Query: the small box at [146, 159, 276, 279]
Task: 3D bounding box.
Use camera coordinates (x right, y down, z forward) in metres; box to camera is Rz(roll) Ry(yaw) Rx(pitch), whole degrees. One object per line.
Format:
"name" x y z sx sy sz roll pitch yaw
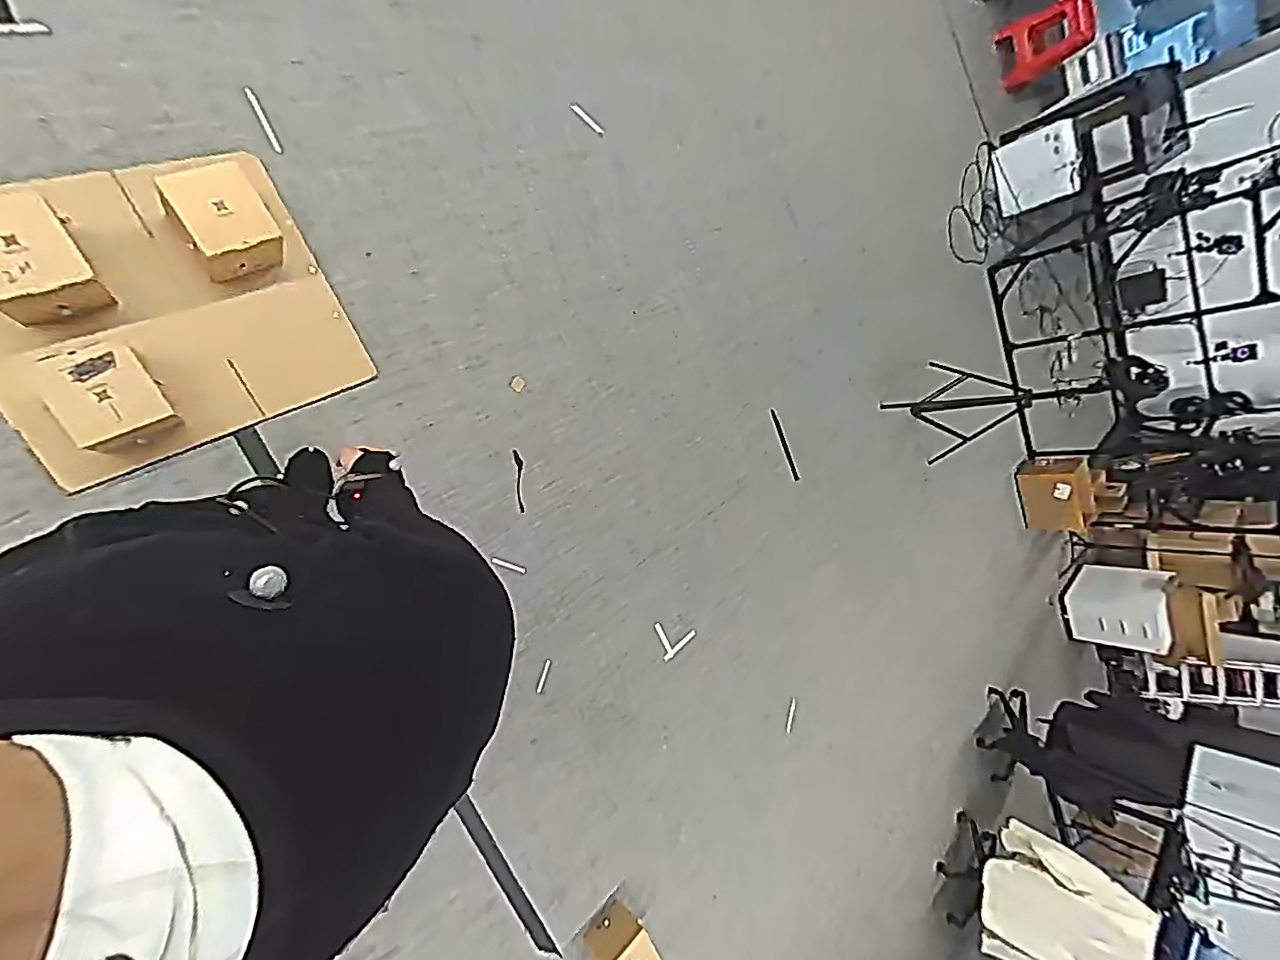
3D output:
"small box" -0.975 -0.593 1.242 0.168 0.176 0.179 -37 110 -29

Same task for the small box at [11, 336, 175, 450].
"small box" -1.121 -0.174 1.127 0.168 0.176 0.179 -34 109 -30

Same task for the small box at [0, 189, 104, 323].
"small box" -1.219 -0.433 1.061 0.168 0.176 0.179 -34 108 -30
